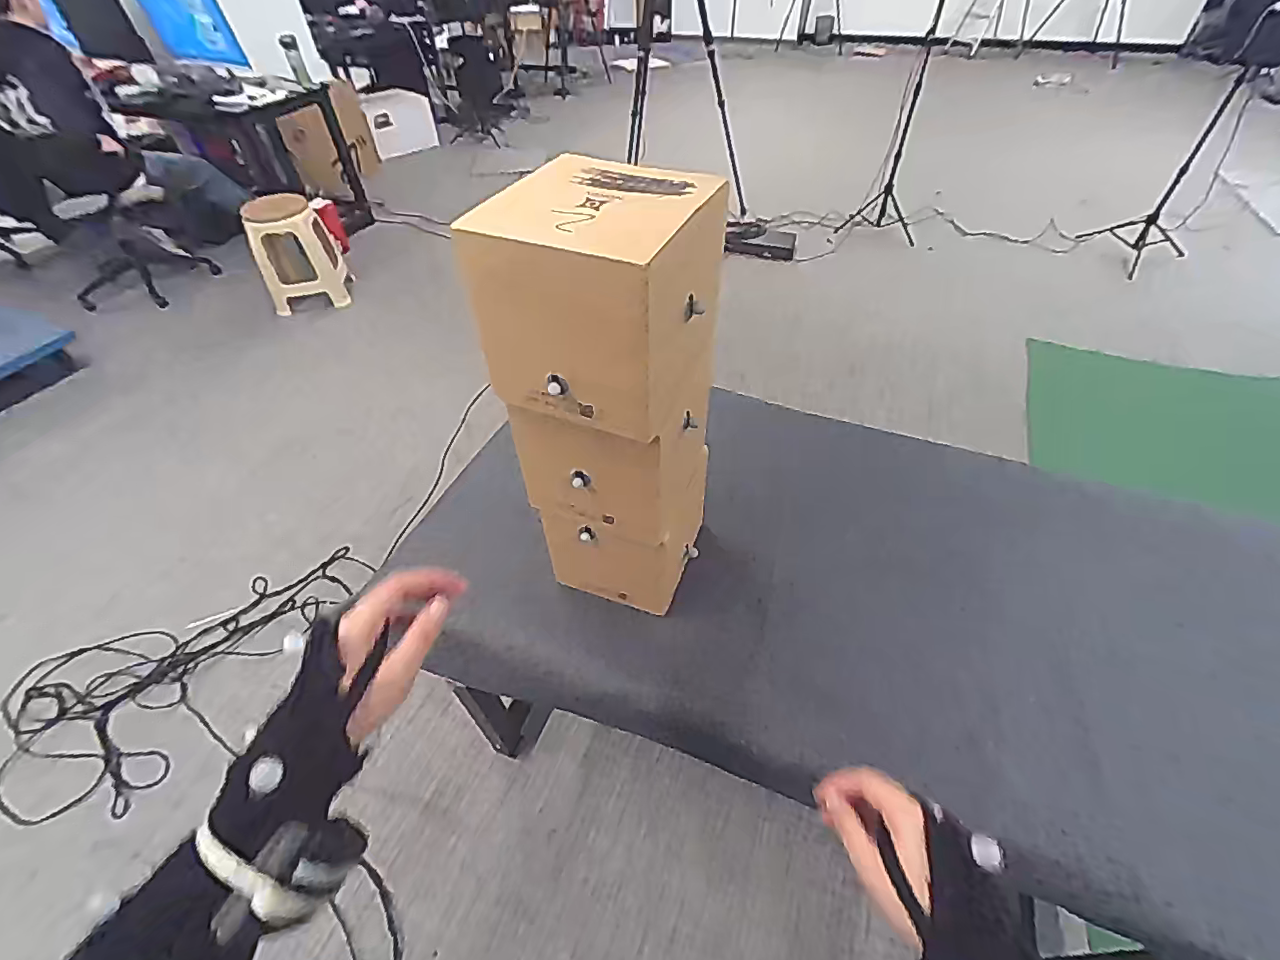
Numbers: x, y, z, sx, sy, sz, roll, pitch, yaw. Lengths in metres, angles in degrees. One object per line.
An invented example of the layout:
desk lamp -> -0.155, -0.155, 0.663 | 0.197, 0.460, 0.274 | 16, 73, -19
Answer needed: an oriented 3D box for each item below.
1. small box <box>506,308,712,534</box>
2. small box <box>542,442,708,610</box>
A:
small box -> -0.025, -0.066, 0.618 | 0.168, 0.176, 0.179 | 16, 49, 14
small box -> -0.016, 0.044, 0.741 | 0.168, 0.176, 0.179 | 15, 48, 14
